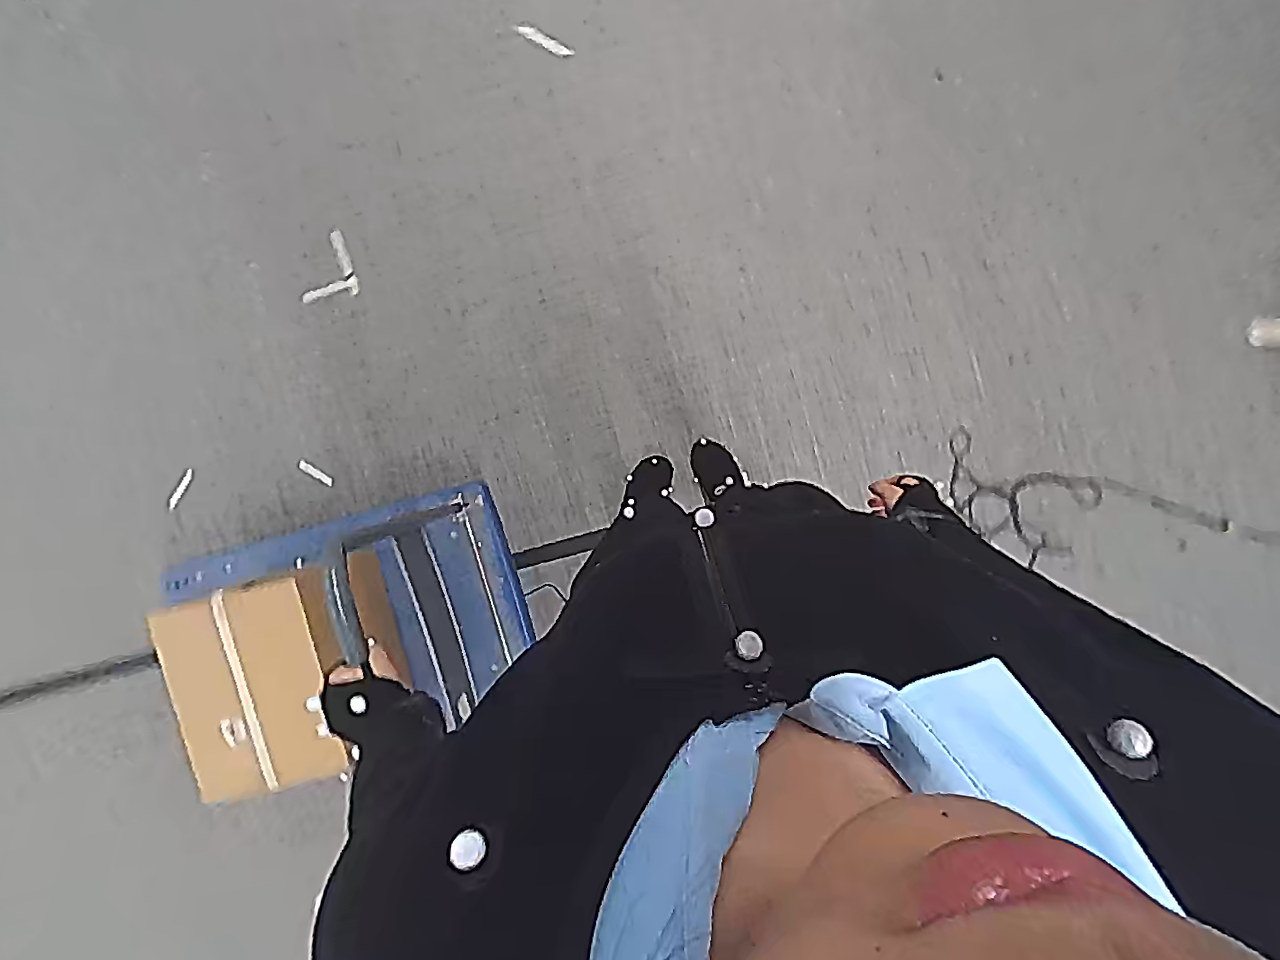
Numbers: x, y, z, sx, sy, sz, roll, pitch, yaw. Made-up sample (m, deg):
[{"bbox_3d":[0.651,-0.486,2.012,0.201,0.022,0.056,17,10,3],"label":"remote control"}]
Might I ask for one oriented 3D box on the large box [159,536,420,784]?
[{"bbox_3d":[-0.753,0.378,1.225,0.320,0.320,0.408,-13,95,3],"label":"large box"}]
